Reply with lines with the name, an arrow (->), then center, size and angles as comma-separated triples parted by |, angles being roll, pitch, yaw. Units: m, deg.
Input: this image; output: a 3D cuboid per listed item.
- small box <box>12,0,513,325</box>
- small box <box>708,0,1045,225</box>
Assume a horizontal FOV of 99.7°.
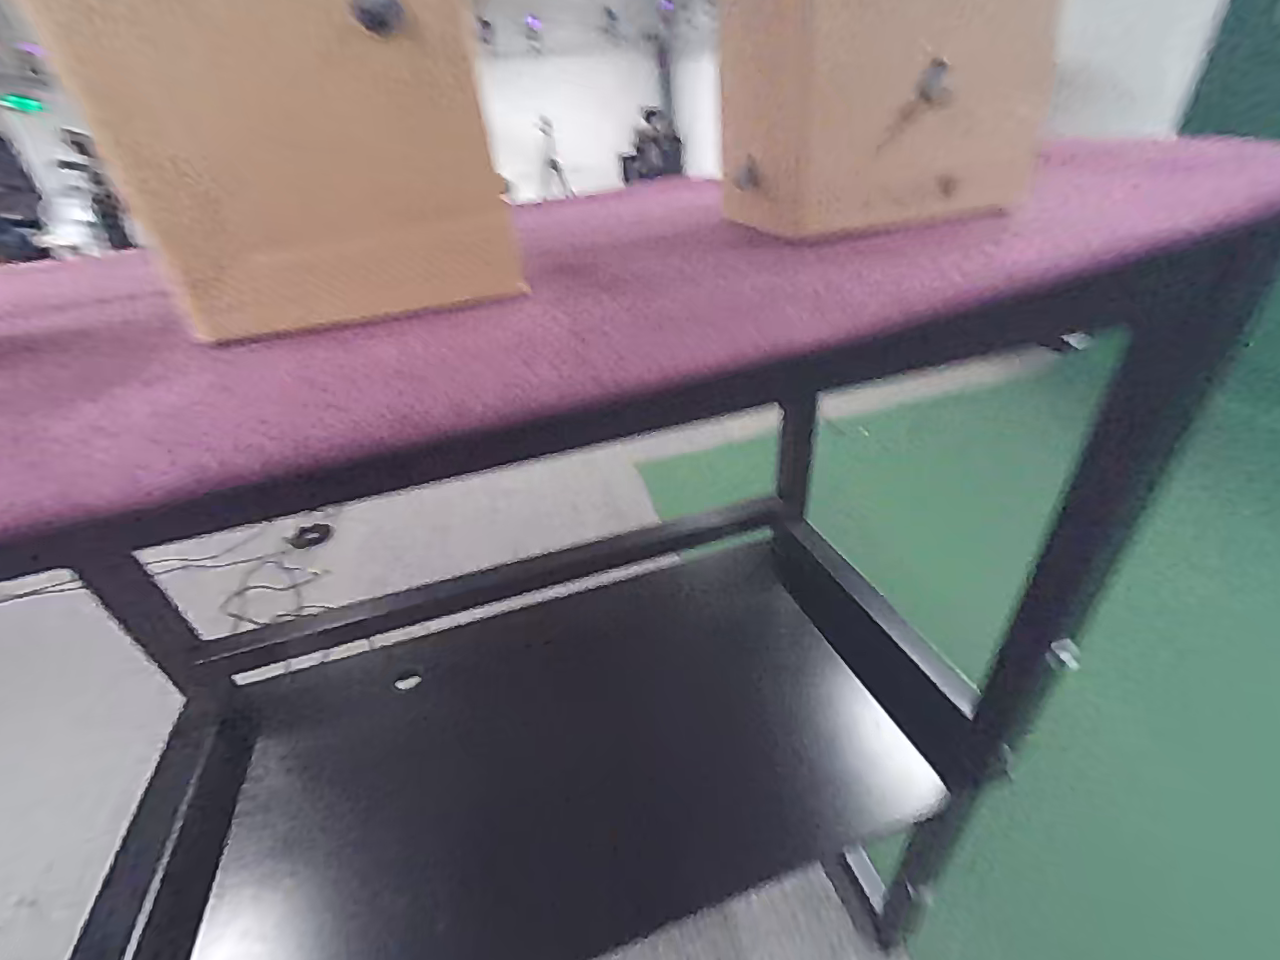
small box -> -0.185, -0.199, 0.314 | 0.179, 0.176, 0.168 | -14, 33, -13
small box -> 0.156, -0.291, 0.392 | 0.168, 0.176, 0.179 | -12, 32, -6
